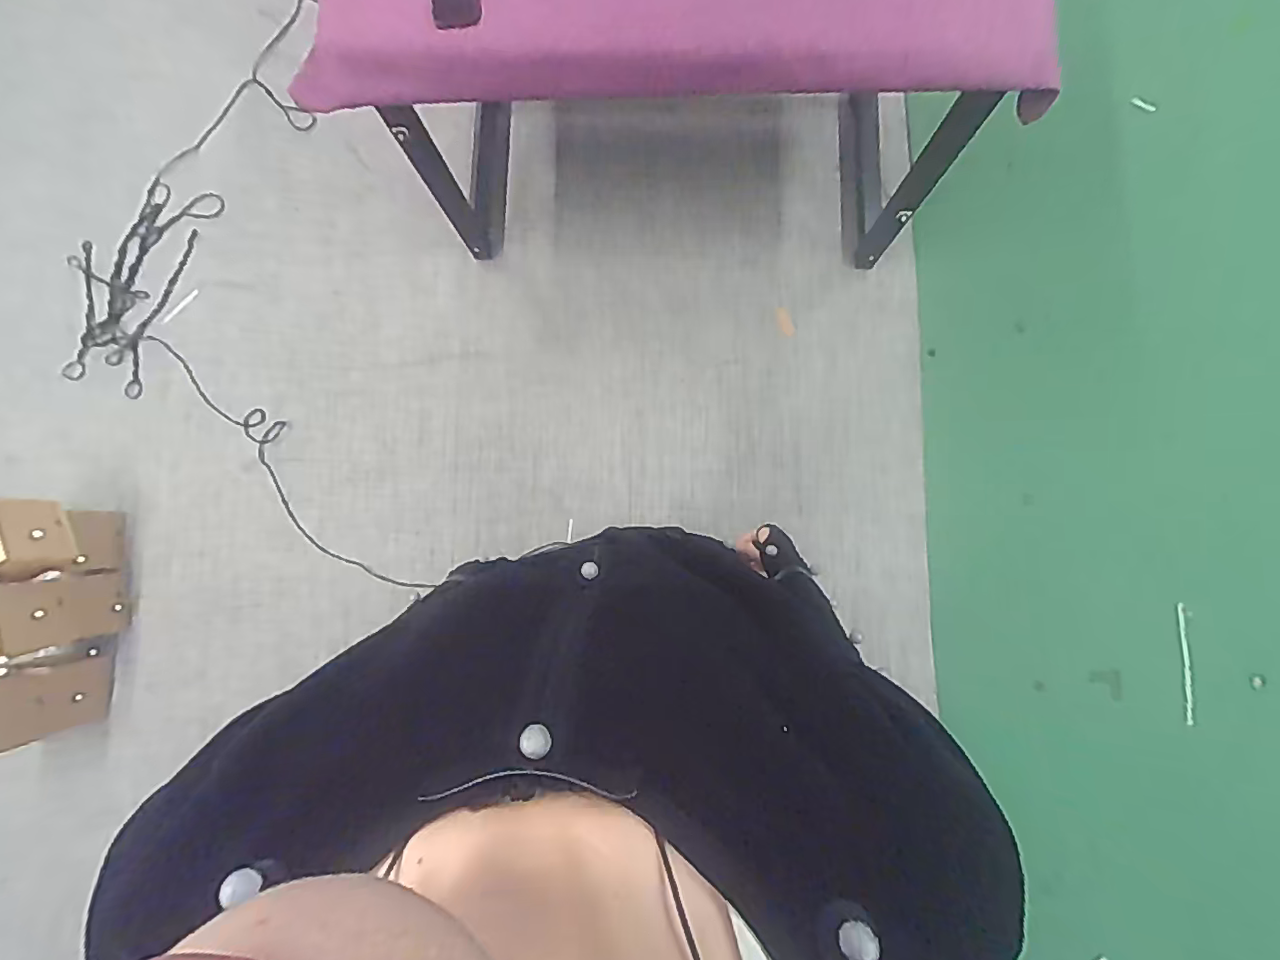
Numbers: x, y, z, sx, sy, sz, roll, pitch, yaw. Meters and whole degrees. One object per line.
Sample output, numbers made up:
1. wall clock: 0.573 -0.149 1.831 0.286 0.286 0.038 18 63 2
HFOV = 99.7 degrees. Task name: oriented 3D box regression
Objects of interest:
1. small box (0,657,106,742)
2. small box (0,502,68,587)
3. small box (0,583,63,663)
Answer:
1. small box: -1.585 0.576 1.439 0.168 0.176 0.179 0 85 2
2. small box: -1.565 0.156 1.318 0.179 0.176 0.168 -25 83 0
3. small box: -1.553 0.352 1.299 0.179 0.176 0.168 -17 83 0
